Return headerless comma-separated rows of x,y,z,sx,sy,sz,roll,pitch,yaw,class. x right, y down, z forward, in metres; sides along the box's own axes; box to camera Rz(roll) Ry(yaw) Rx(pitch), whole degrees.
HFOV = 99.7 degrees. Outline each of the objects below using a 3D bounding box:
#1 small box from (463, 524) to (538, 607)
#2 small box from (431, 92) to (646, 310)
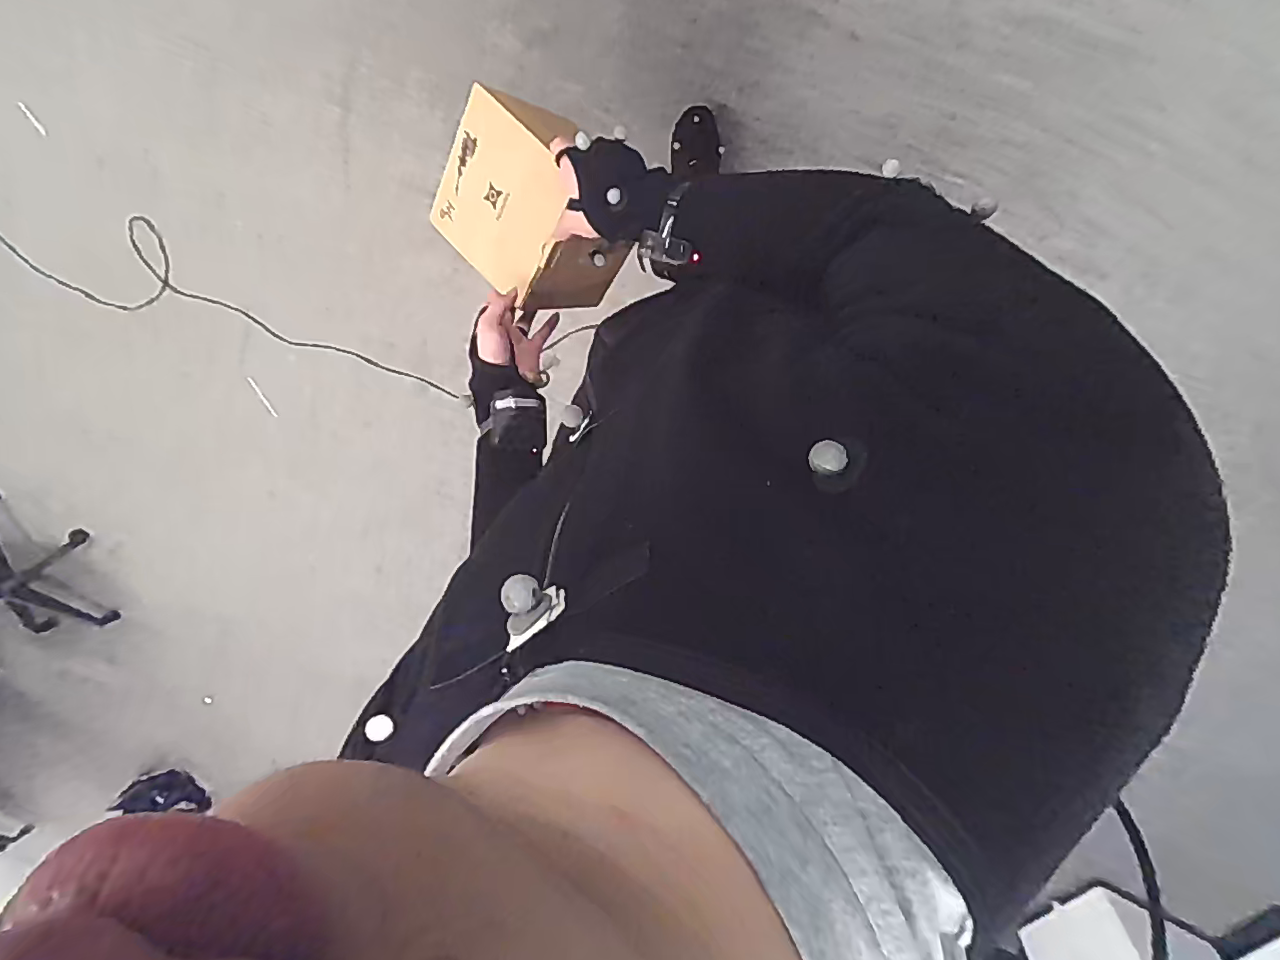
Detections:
-0.453,0.277,1.781,0.168,0.176,0.179,26,115,-3,small box
-0.124,-0.342,0.688,0.179,0.176,0.168,46,125,10,small box
